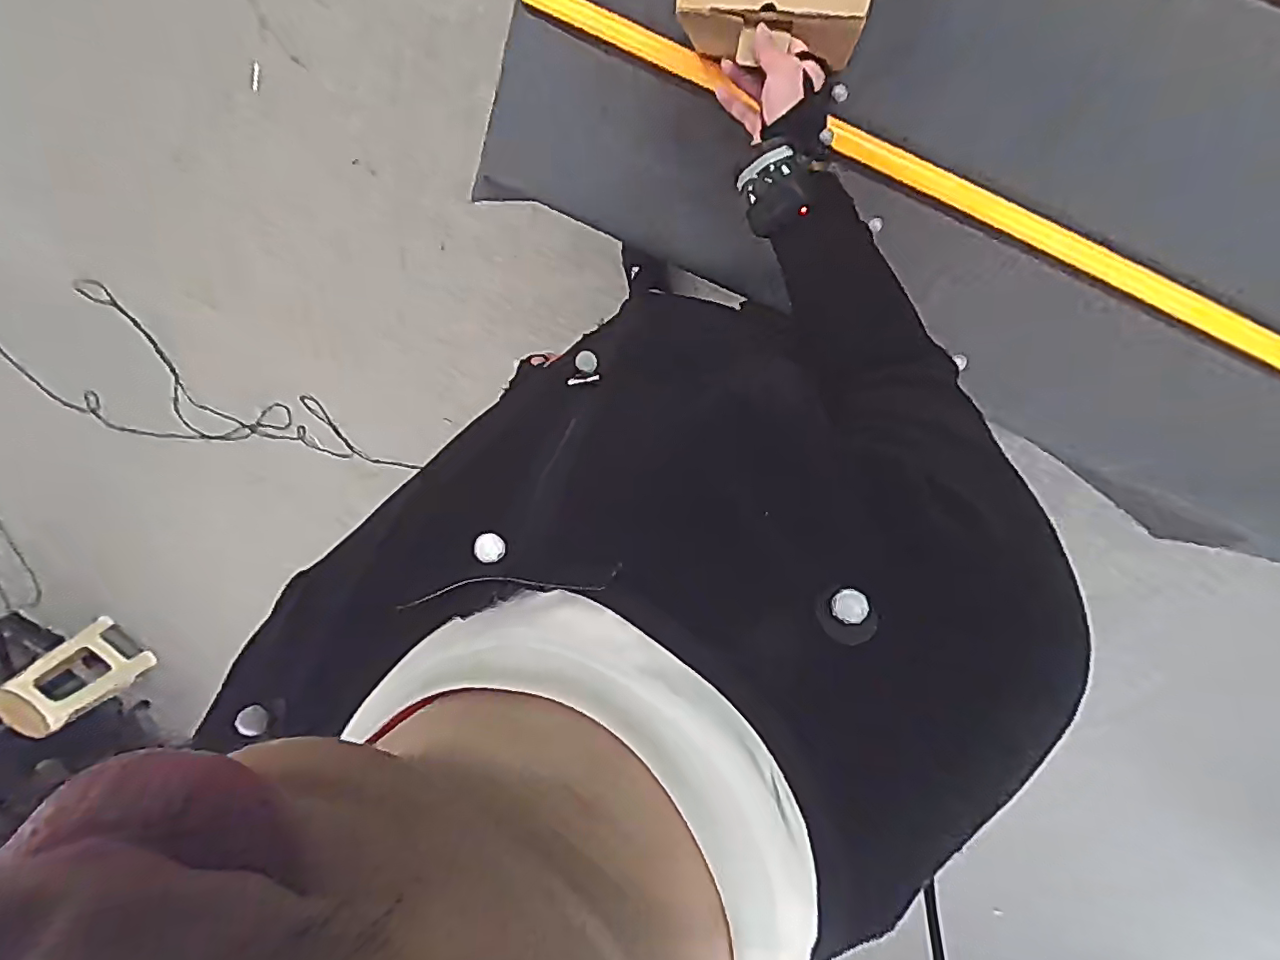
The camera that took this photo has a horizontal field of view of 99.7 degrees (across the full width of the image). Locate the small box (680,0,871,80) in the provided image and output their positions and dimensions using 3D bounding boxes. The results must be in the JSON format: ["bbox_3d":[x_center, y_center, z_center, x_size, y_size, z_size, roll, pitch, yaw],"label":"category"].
[{"bbox_3d":[0.142,-0.501,0.513,0.168,0.176,0.179,10,116,13],"label":"small box"}]
